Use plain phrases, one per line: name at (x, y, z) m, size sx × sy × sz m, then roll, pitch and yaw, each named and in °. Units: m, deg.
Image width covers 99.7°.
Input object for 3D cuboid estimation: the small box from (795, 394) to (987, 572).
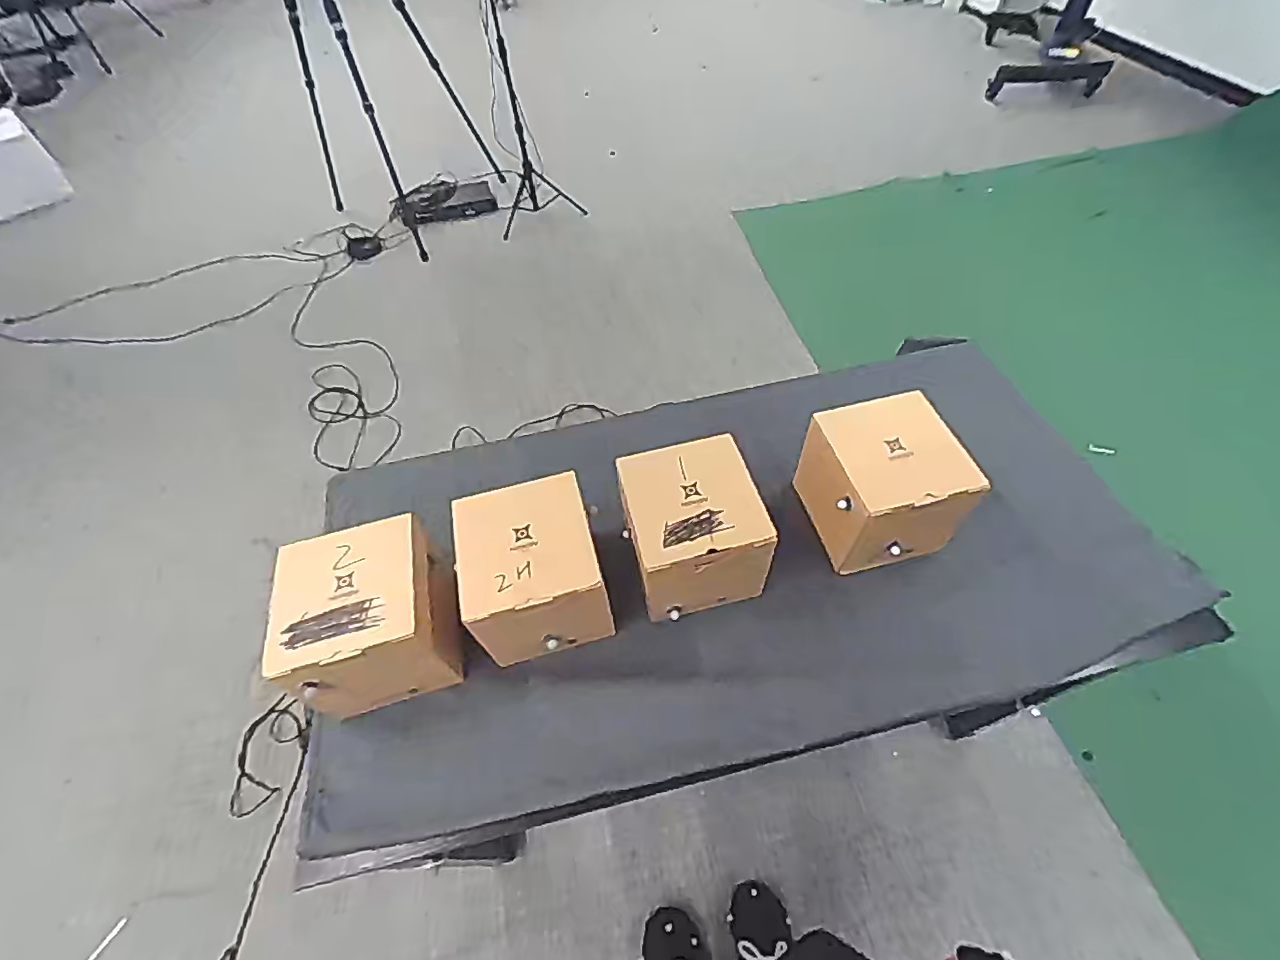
small box at (0.342, 0.007, 0.783) m, size 0.168 × 0.176 × 0.179 m, roll -13°, pitch 55°, yaw -5°
